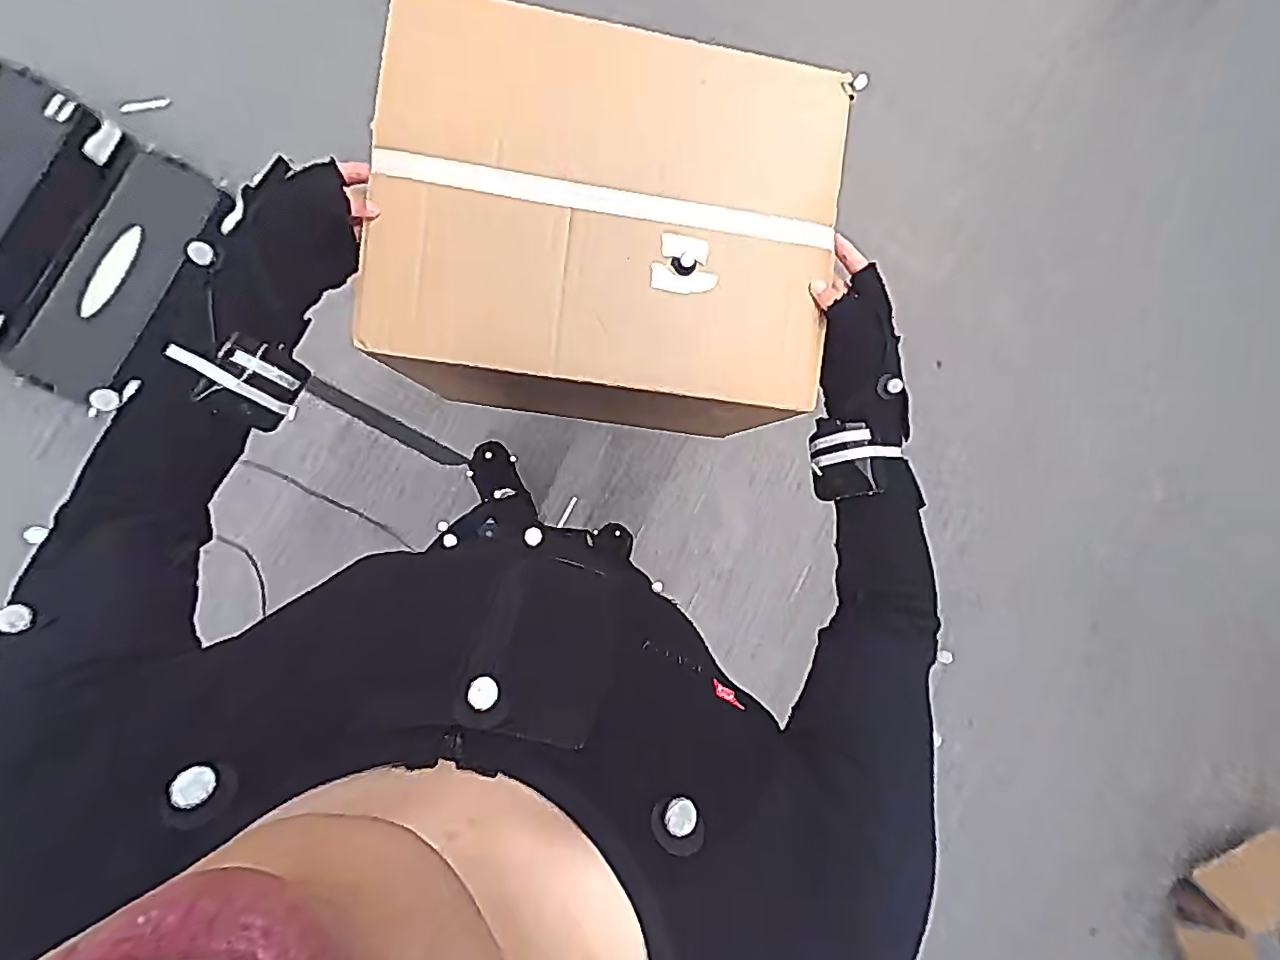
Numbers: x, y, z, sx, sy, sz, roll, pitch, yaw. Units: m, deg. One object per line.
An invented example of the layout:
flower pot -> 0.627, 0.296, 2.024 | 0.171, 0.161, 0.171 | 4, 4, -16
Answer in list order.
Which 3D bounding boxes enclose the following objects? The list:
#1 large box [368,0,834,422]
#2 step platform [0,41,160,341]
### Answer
large box -> -0.045, -0.252, 0.629 | 0.408, 0.320, 0.320 | 6, 90, -7
step platform -> -1.556, -0.710, 1.351 | 0.286, 0.204, 0.684 | 26, 84, -2
